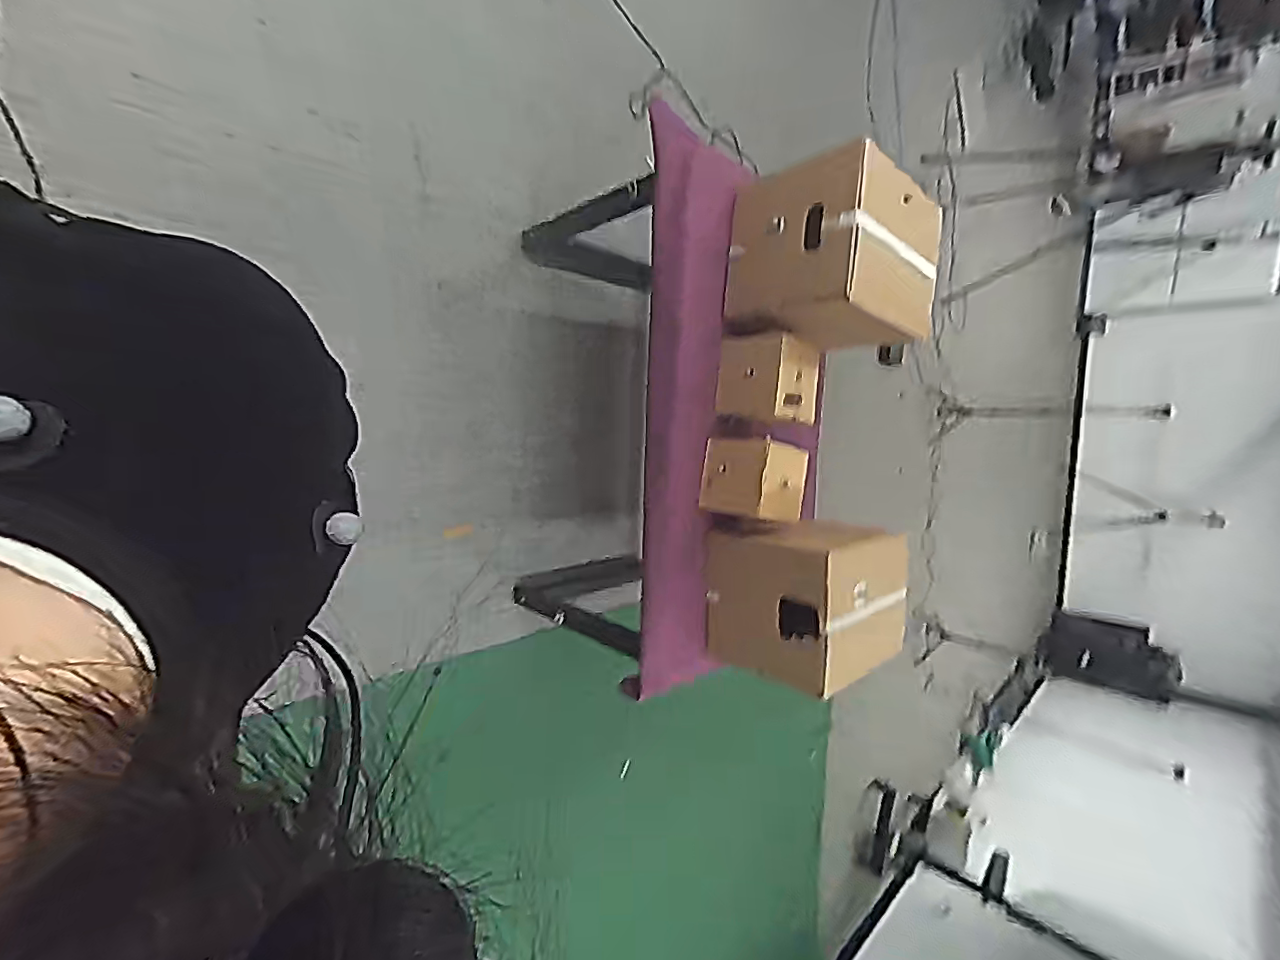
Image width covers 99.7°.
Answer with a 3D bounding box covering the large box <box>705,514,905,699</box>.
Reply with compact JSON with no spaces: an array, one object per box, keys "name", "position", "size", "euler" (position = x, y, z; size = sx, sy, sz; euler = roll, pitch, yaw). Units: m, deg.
[{"name":"large box","position":[0.404,0.271,1.324],"size":[0.408,0.320,0.320],"euler":[-4,95,-42]}]
